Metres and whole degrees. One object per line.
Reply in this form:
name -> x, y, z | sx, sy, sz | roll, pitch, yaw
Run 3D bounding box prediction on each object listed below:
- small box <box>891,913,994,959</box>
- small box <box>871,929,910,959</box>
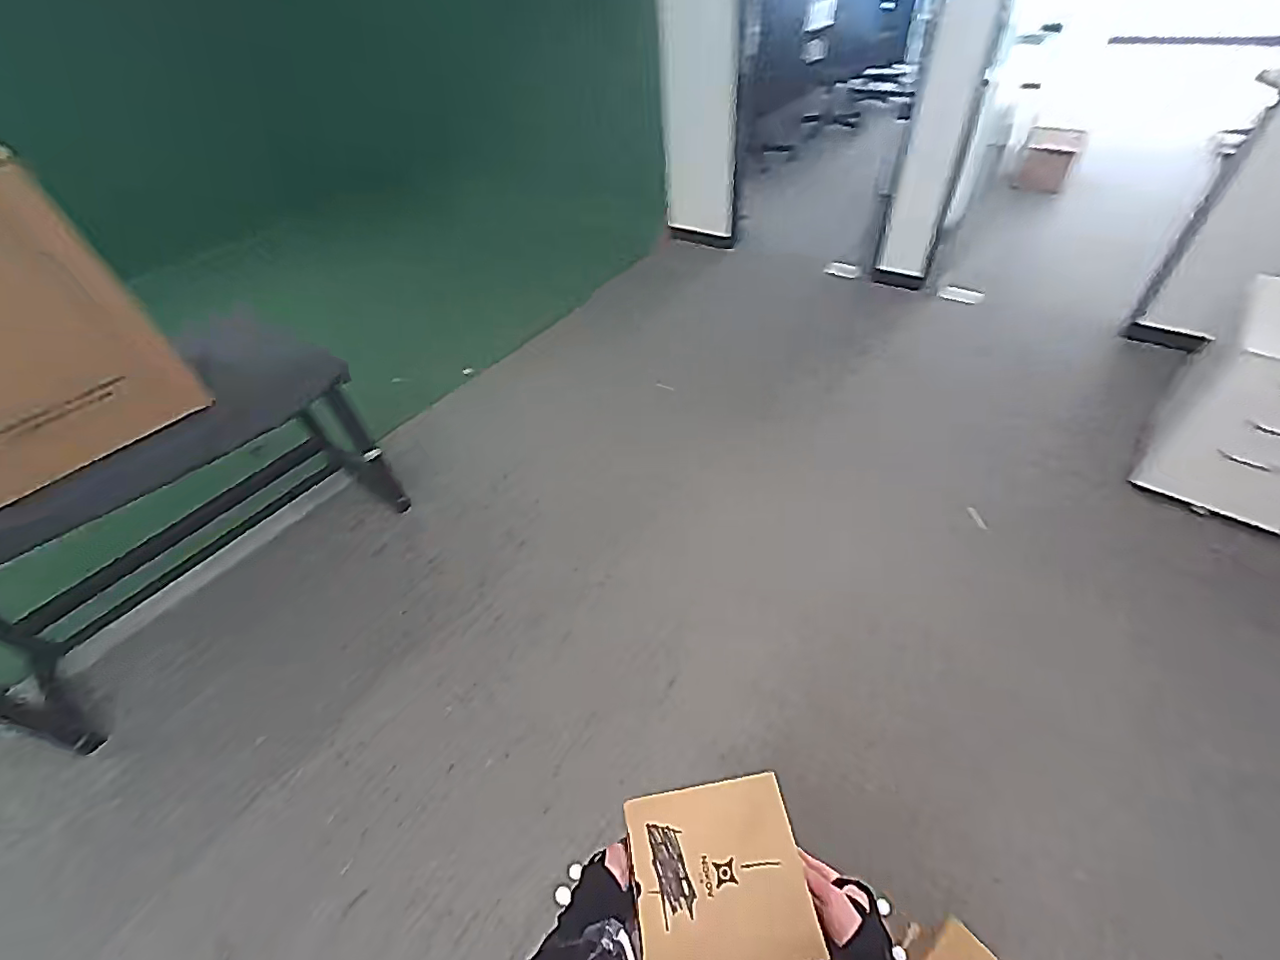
small box -> 0.537, 0.908, 0.938 | 0.179, 0.176, 0.168 | -32, 53, -24
small box -> 0.555, 1.016, 1.048 | 0.168, 0.176, 0.179 | 9, 46, 13
